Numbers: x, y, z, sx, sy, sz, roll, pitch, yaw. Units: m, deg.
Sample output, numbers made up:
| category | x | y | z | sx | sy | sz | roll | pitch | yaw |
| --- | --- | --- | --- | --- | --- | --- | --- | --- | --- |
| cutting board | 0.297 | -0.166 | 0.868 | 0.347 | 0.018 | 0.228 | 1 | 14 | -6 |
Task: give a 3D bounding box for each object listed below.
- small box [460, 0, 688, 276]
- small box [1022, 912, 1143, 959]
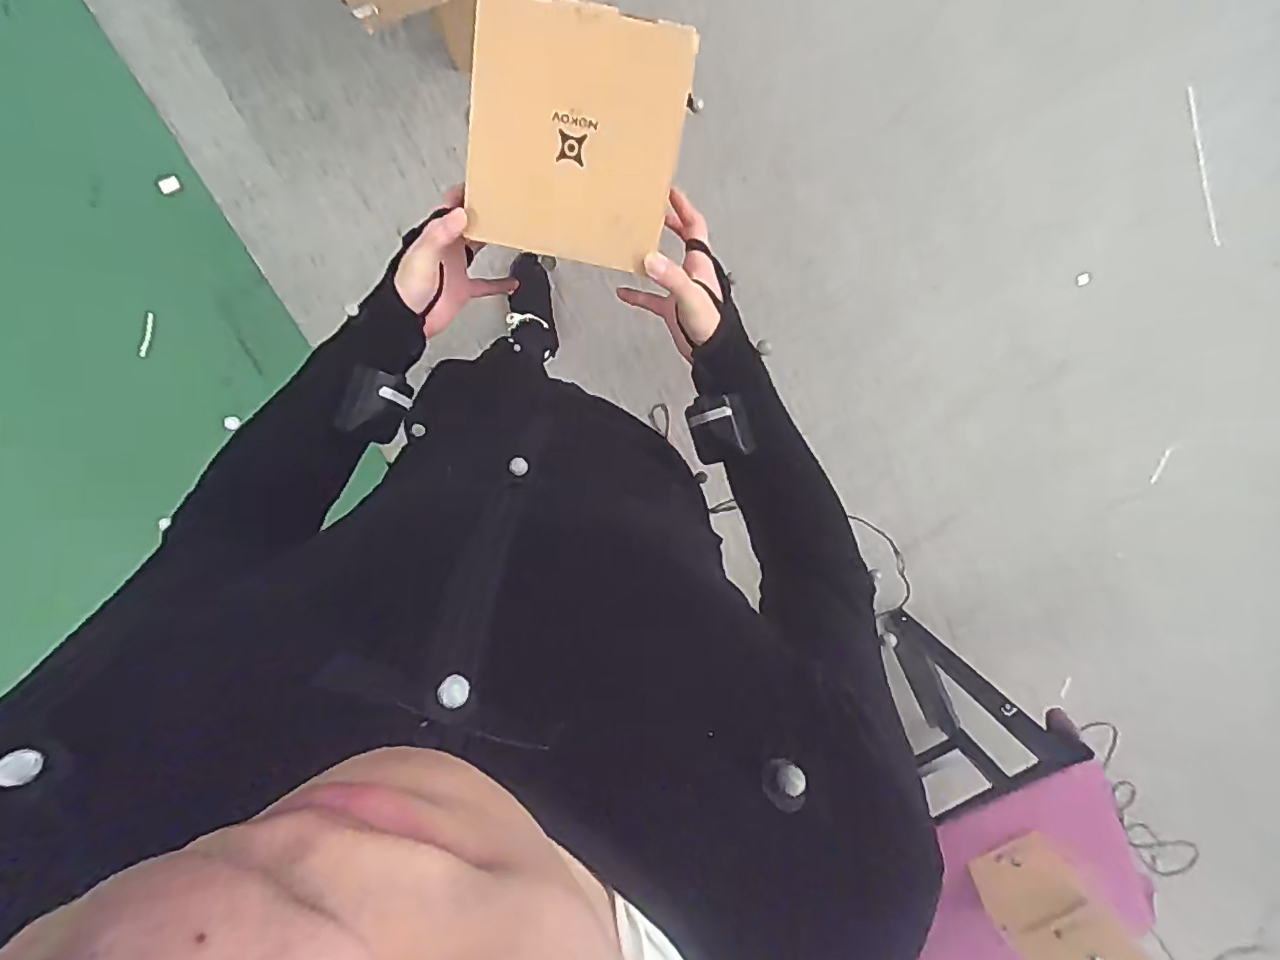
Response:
| category | x | y | z | sx | sy | sz | roll | pitch | yaw |
| --- | --- | --- | --- | --- | --- | --- | --- | --- | --- |
| small box | -0.053 | -0.298 | 0.501 | 0.168 | 0.176 | 0.179 | 11 | 112 | -1 |
| small box | 0.849 | 0.945 | 0.990 | 0.168 | 0.176 | 0.179 | -29 | 106 | 2 |
